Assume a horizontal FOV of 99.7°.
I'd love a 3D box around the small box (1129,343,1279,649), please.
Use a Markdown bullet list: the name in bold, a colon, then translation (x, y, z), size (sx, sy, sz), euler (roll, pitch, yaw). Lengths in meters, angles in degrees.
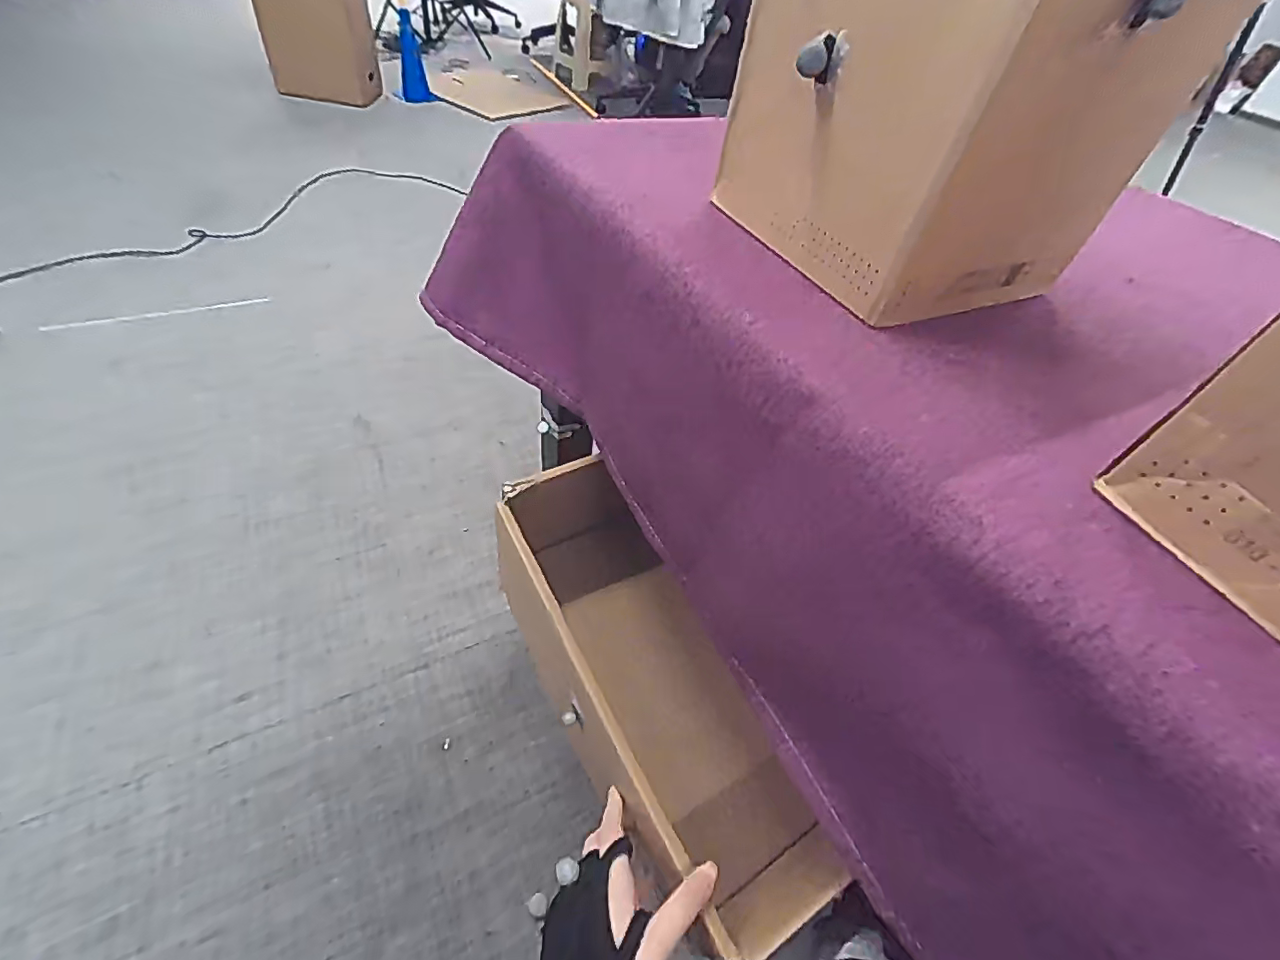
- **small box**: translation (0.312, -0.008, 0.153), size (0.179, 0.176, 0.168), euler (-13, 51, -19)
